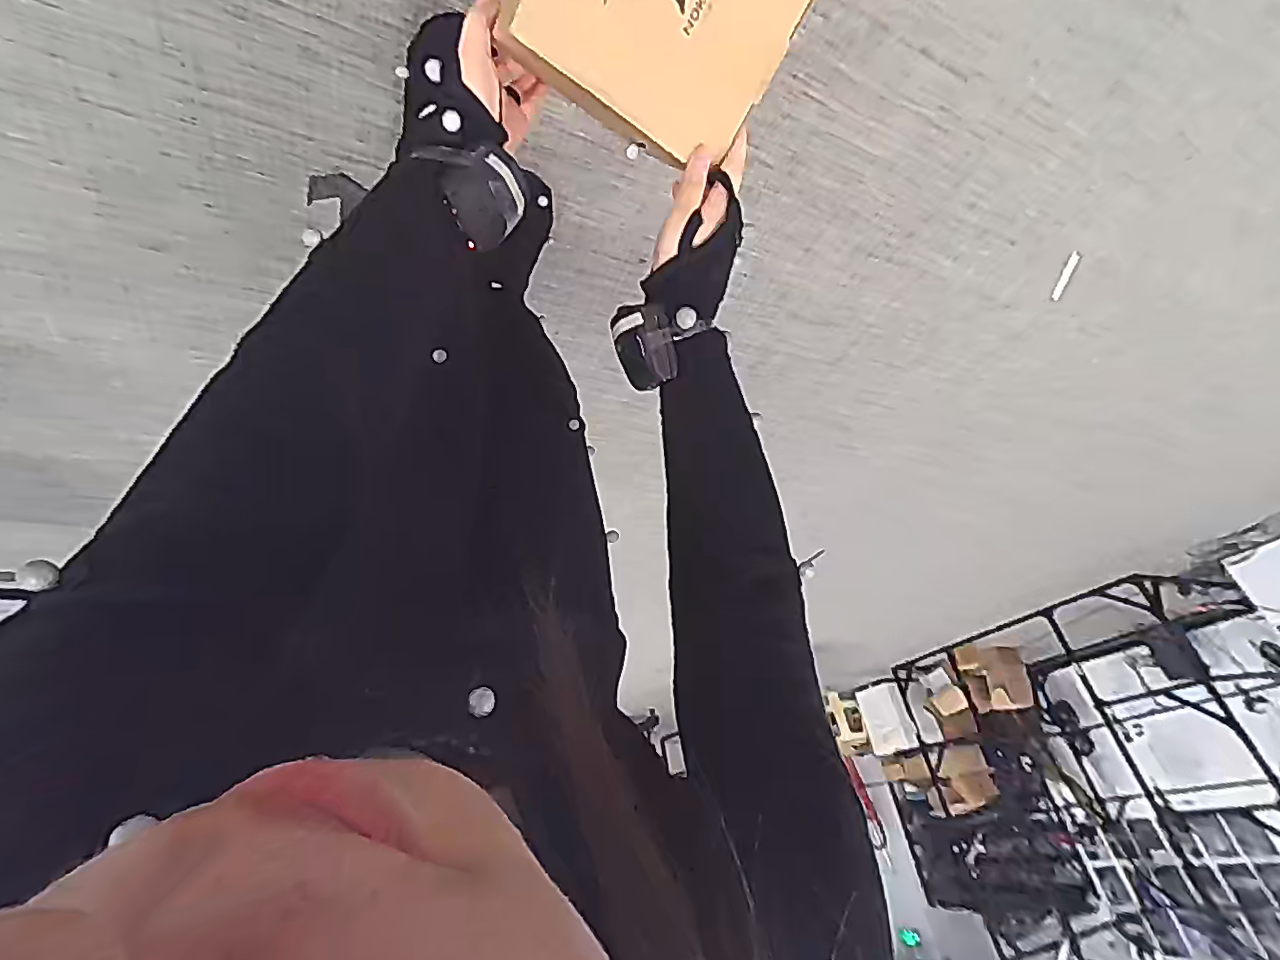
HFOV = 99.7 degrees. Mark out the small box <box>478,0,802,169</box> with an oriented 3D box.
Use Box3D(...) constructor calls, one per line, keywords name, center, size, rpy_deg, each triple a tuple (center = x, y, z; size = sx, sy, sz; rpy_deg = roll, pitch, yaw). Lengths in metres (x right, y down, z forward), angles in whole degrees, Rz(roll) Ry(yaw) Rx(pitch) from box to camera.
Box3D(name="small box", center=(-0.002, -0.372, 0.400), size=(0.179, 0.176, 0.168), rpy_deg=(17, 118, -33))
